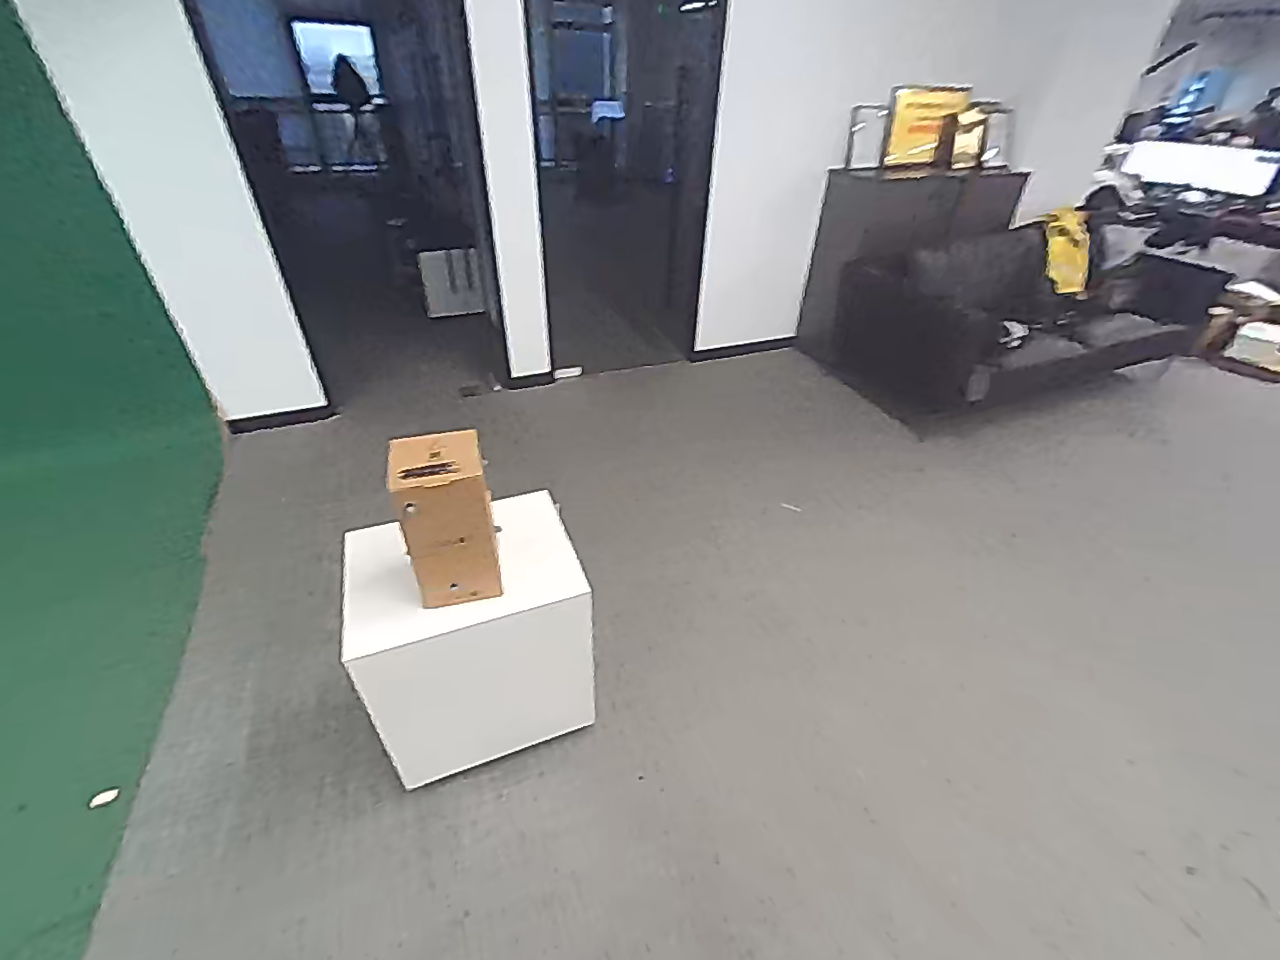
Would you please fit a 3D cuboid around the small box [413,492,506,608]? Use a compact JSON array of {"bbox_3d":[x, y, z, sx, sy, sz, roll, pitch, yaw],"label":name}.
[{"bbox_3d":[-0.392,0.152,1.190,0.168,0.176,0.179,-8,38,-14],"label":"small box"}]
